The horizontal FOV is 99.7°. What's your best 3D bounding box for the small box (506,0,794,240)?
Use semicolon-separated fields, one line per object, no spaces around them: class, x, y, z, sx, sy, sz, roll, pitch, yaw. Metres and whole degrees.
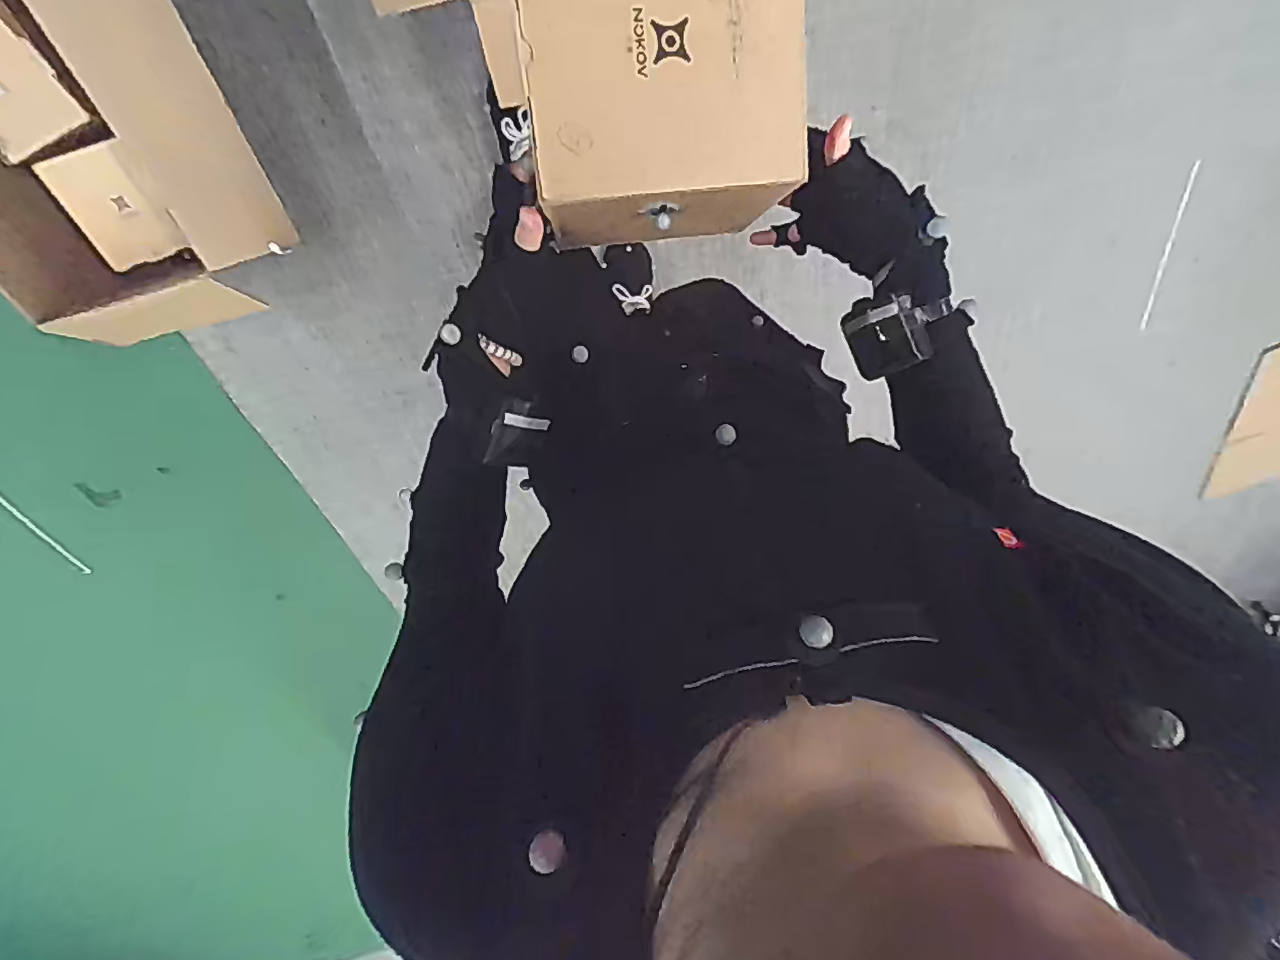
small box;0.005;-0.288;0.409;0.179;0.176;0.168;-5;104;-2
